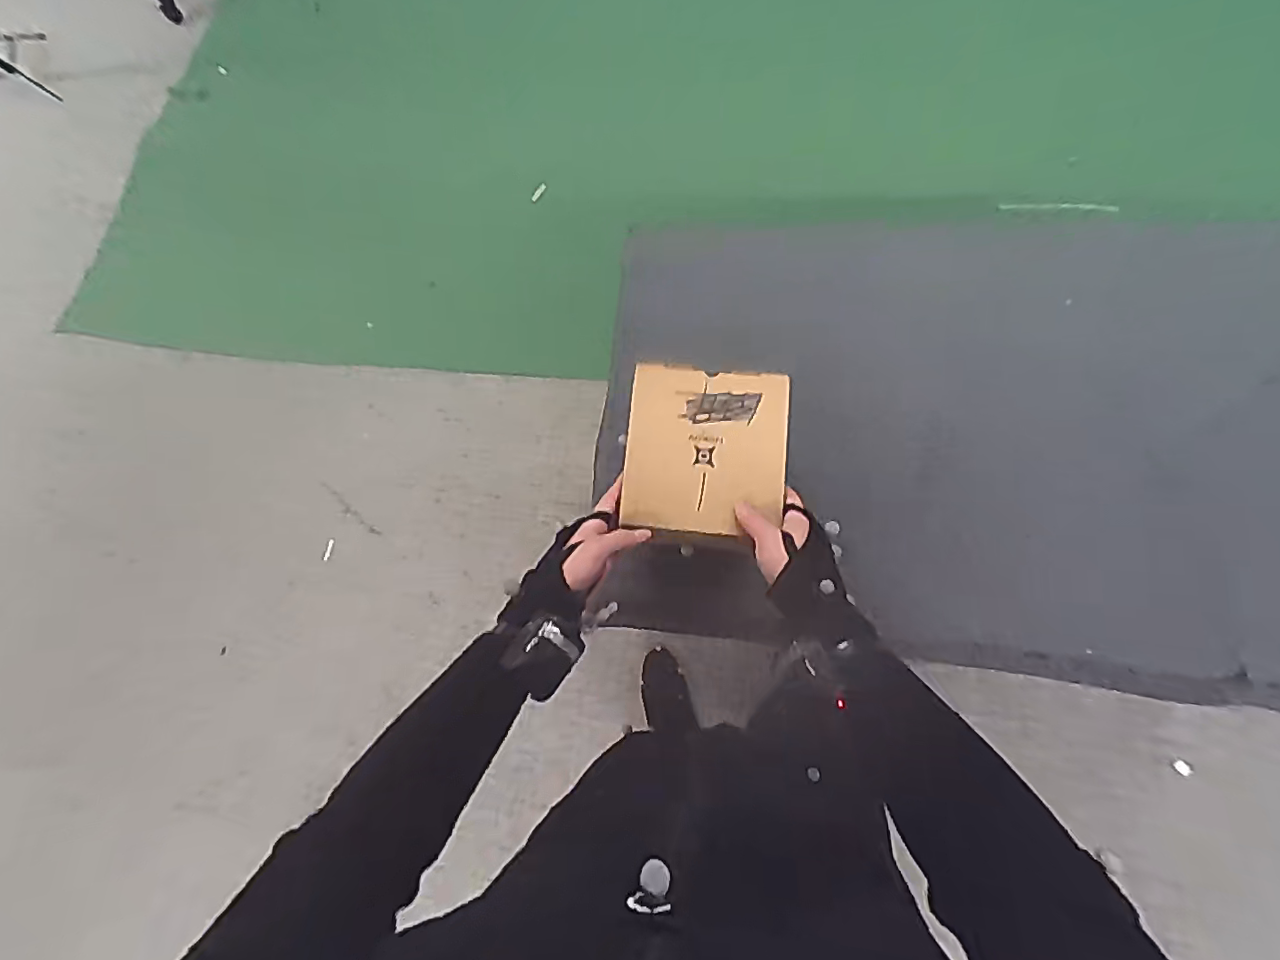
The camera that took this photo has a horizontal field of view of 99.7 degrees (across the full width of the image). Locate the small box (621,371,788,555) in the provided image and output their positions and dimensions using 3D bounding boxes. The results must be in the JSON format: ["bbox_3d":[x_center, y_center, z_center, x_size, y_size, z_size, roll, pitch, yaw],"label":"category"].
[{"bbox_3d":[0.071,-0.010,0.643,0.168,0.176,0.179,5,79,3],"label":"small box"}]
